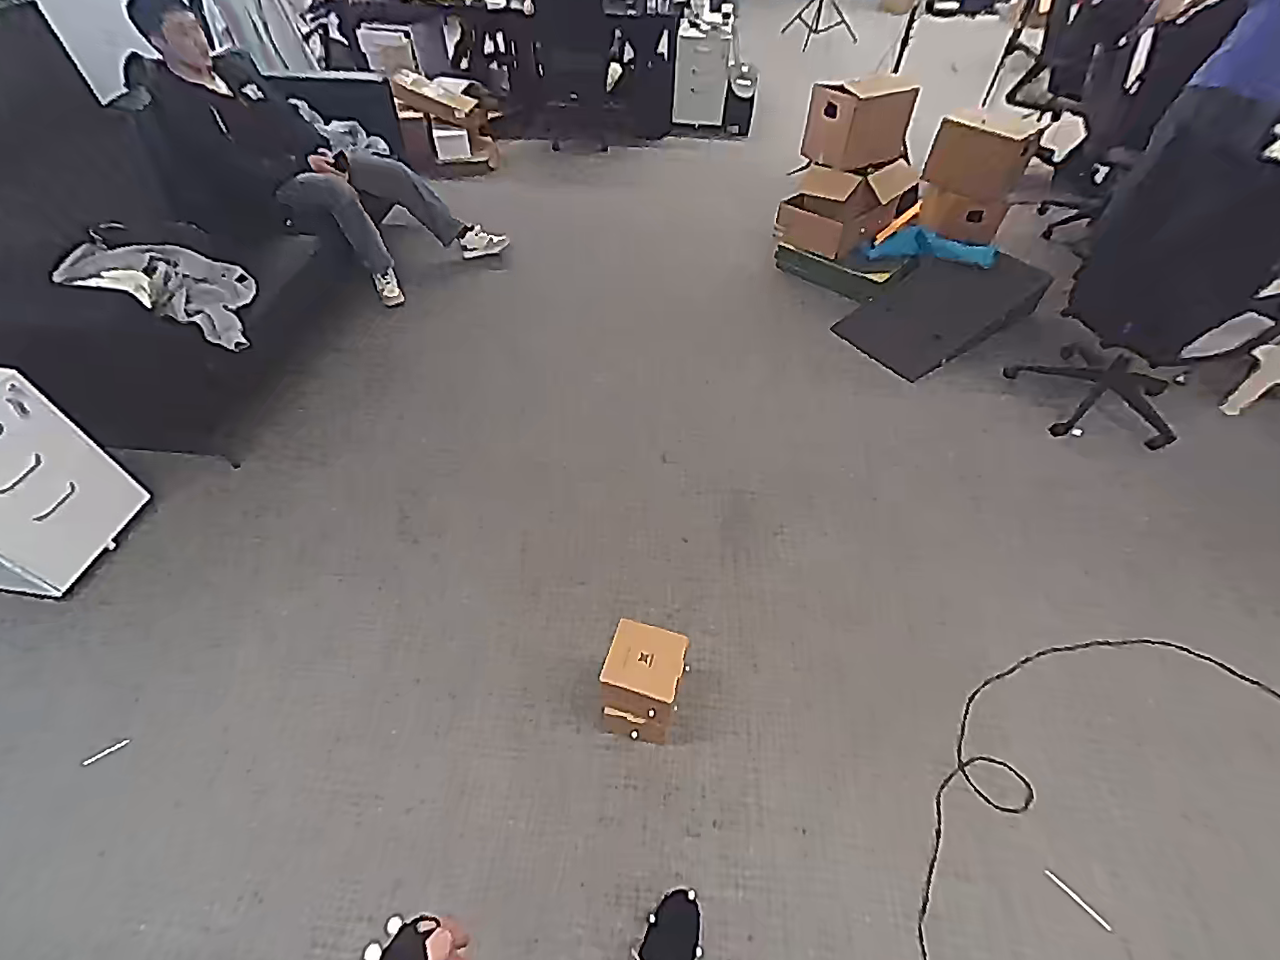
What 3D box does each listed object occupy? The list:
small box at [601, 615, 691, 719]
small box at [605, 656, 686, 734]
[{"bbox_3d":[0.018,0.463,1.328,0.179,0.176,0.168,13,49,13],"label":"small box"},{"bbox_3d":[0.016,0.558,1.451,0.179,0.176,0.168,-14,50,-10],"label":"small box"}]
